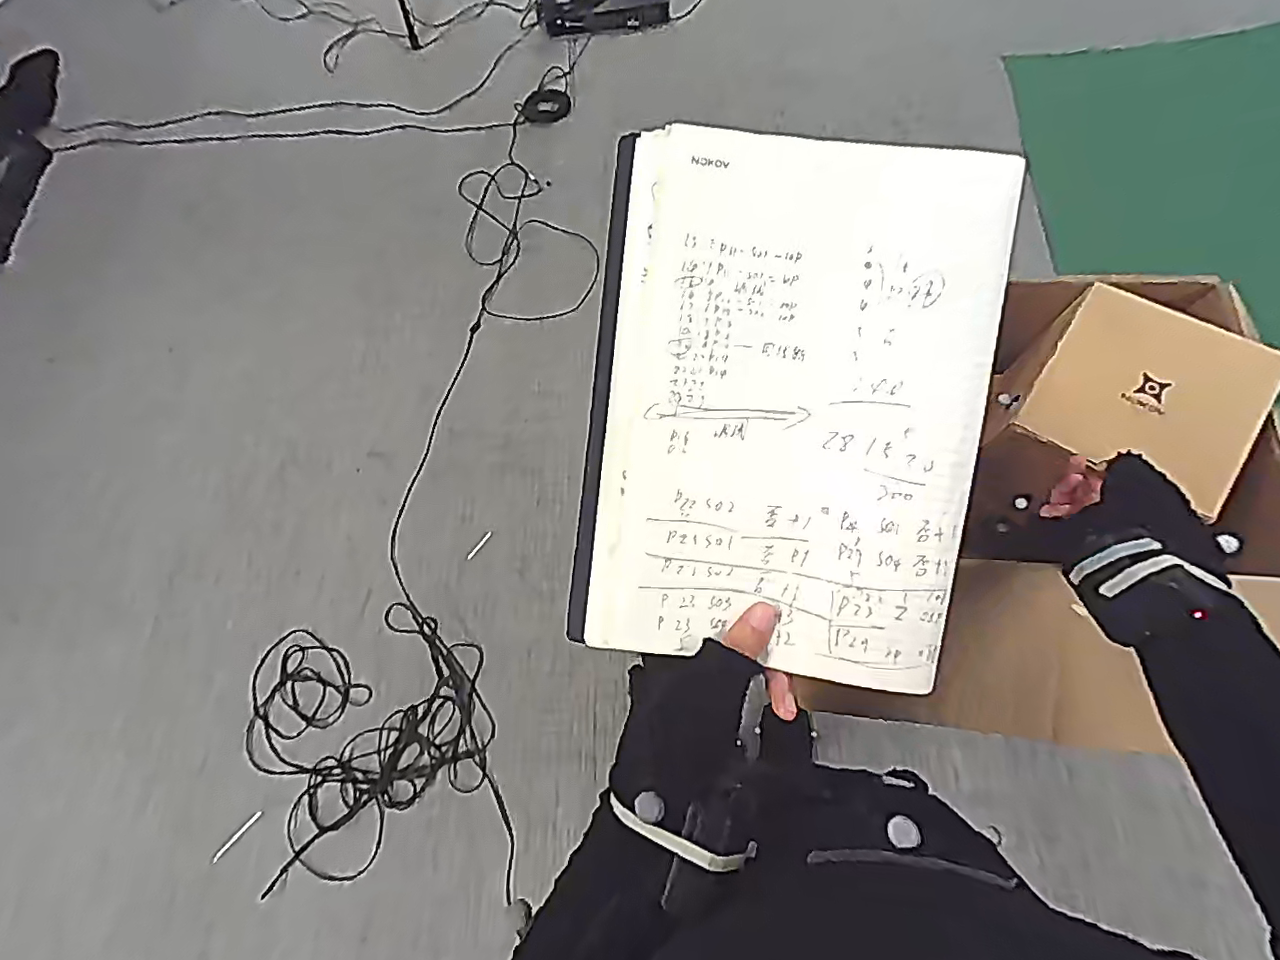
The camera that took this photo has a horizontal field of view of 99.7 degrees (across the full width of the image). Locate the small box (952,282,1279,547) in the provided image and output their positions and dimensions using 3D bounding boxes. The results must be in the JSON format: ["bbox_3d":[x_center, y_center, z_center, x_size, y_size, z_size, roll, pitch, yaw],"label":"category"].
[{"bbox_3d":[0.458,-0.055,0.551,0.168,0.176,0.179,32,81,16],"label":"small box"}]
